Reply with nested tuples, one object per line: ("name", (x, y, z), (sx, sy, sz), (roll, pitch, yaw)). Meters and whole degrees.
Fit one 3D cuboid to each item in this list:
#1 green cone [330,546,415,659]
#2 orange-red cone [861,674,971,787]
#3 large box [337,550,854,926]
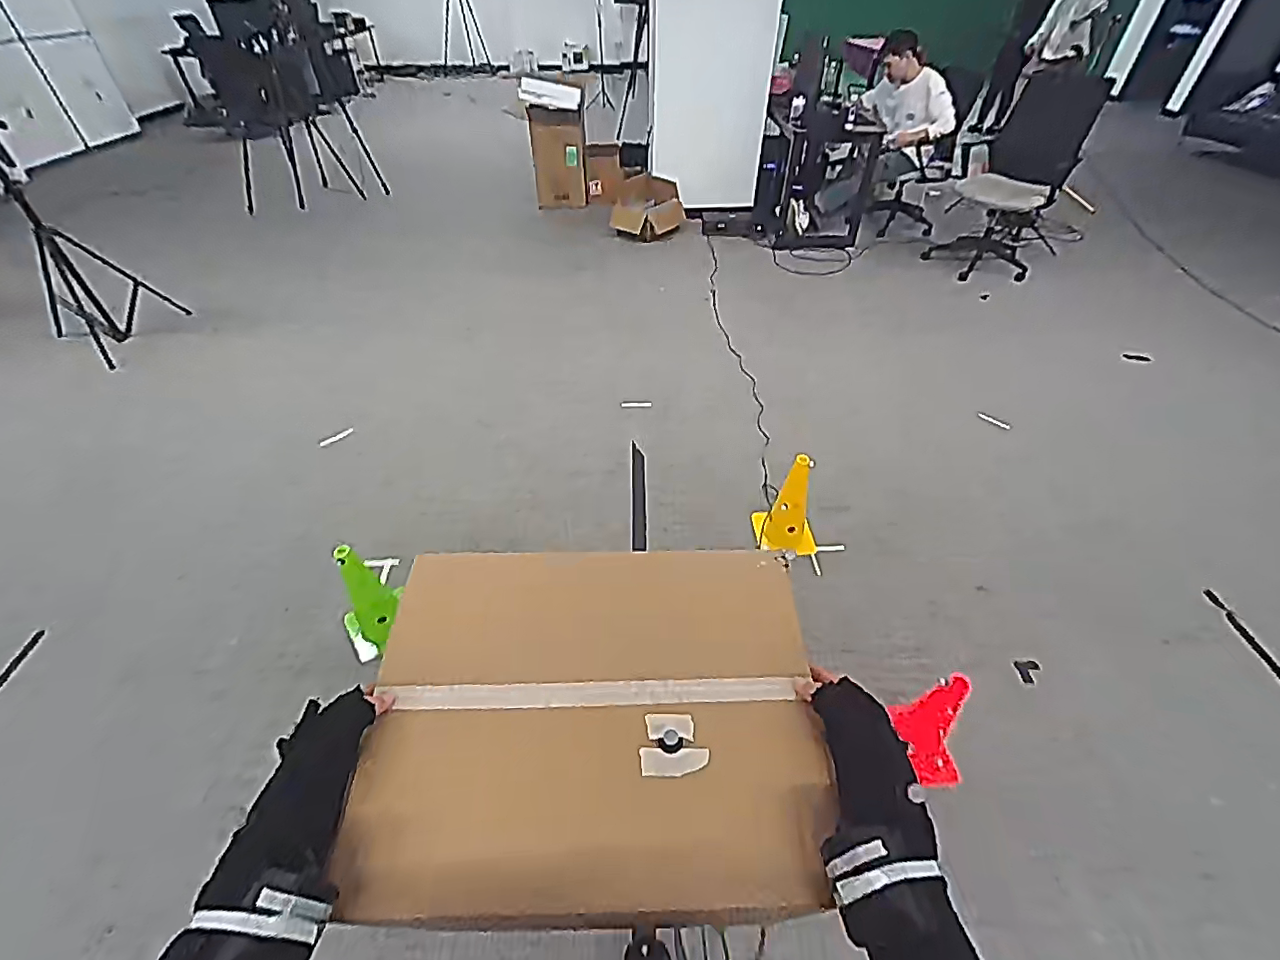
("green cone", (-0.796, 0.313, 1.563), (0.202, 0.368, 0.200), (-30, 50, -26))
("orange-red cone", (0.697, 0.566, 1.293), (0.198, 0.360, 0.199), (-2, 42, -3))
("large box", (-0.039, 0.294, 0.618), (0.408, 0.320, 0.320), (0, 49, -2))
